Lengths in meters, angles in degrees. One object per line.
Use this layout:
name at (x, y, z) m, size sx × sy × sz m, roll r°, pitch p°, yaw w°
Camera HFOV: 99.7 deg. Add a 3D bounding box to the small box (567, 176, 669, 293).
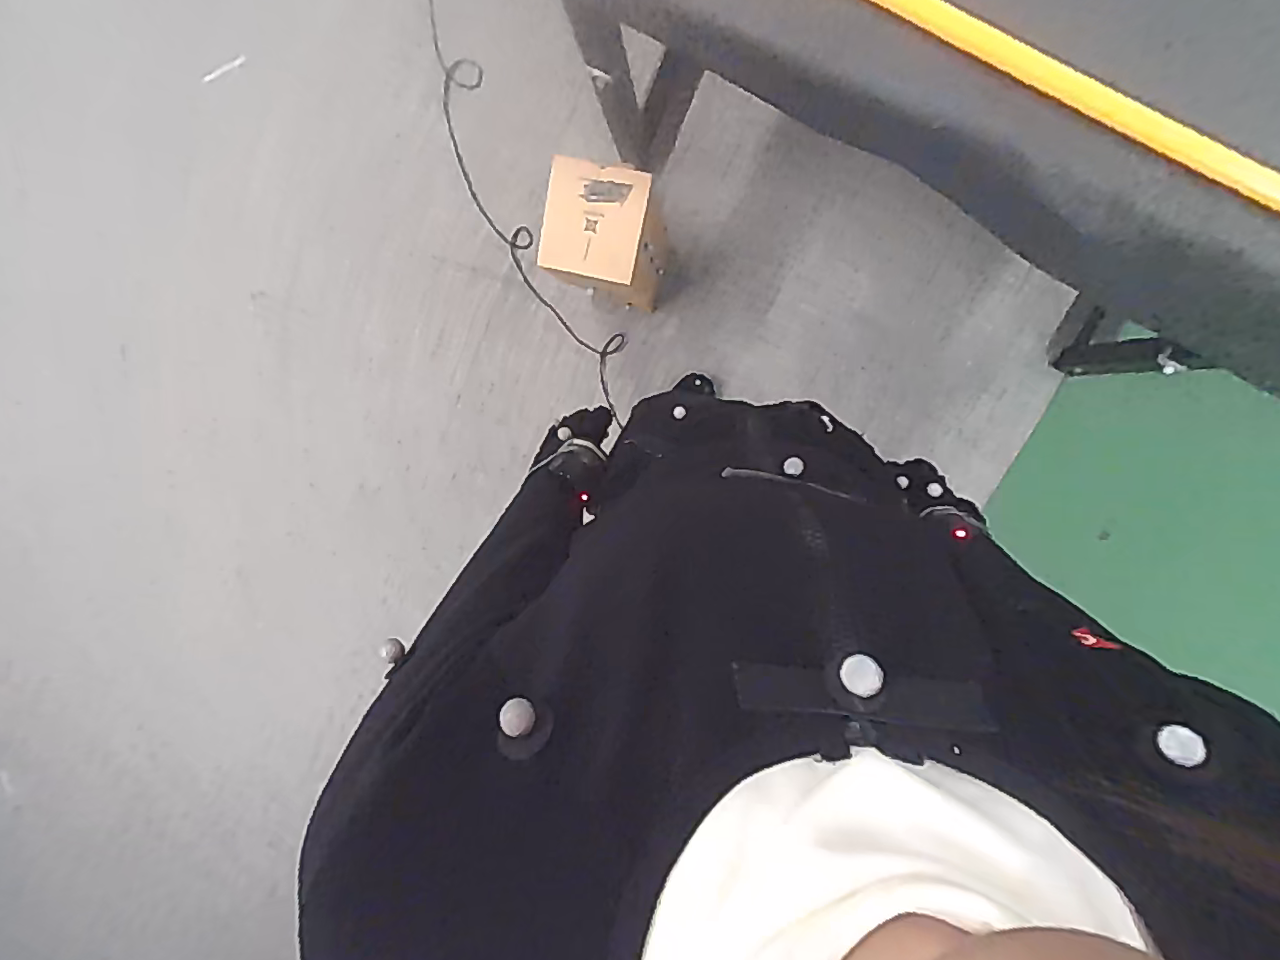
small box at (-0.039, -0.496, 1.119) m, size 0.168 × 0.176 × 0.179 m, roll 11°, pitch 101°, yaw 7°
